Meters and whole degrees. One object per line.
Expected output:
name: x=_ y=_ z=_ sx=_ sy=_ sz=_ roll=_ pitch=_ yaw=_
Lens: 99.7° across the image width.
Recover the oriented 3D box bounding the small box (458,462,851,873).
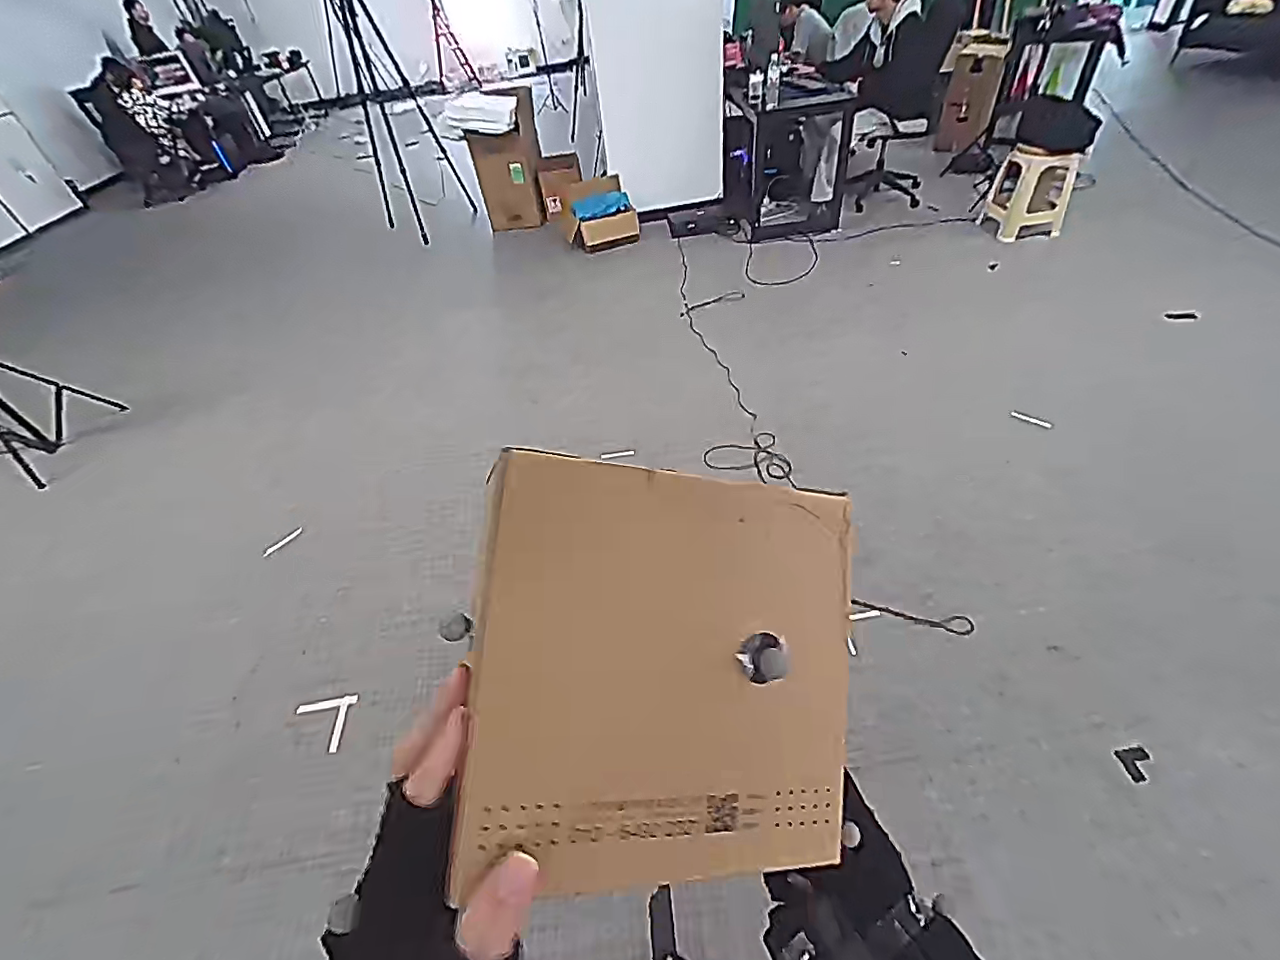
small box: x=-0.006 y=0.090 z=0.308 sx=0.168 sy=0.179 sz=0.176 roll=8 pitch=82 yaw=-19
